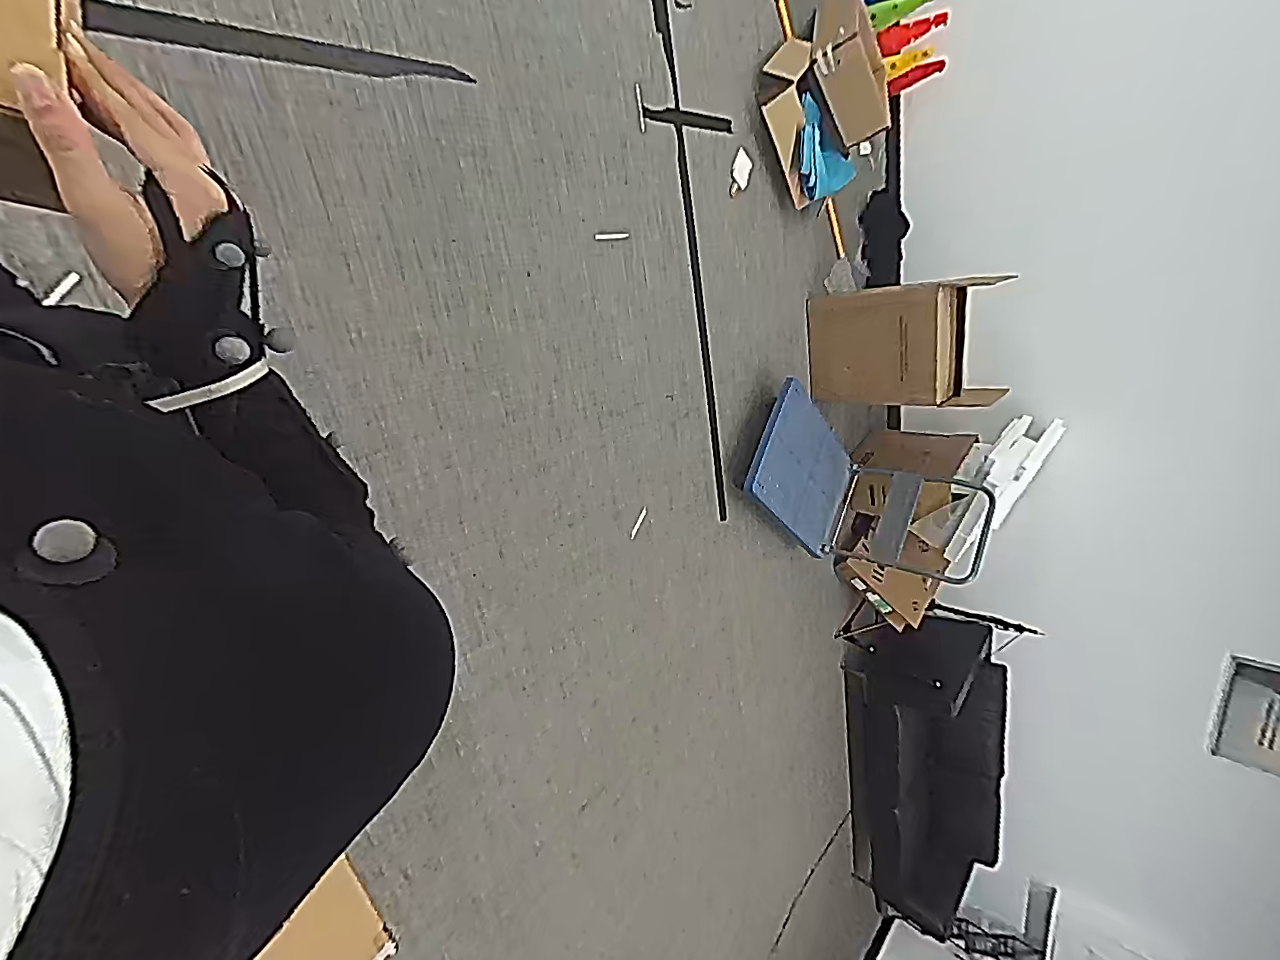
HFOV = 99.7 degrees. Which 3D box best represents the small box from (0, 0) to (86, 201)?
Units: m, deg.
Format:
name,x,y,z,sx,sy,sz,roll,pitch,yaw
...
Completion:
name,x,y,z,sx,sy,sz,roll,pitch,yaw
small box,-0.383,-0.251,0.244,0.179,0.176,0.168,-4,98,-45
